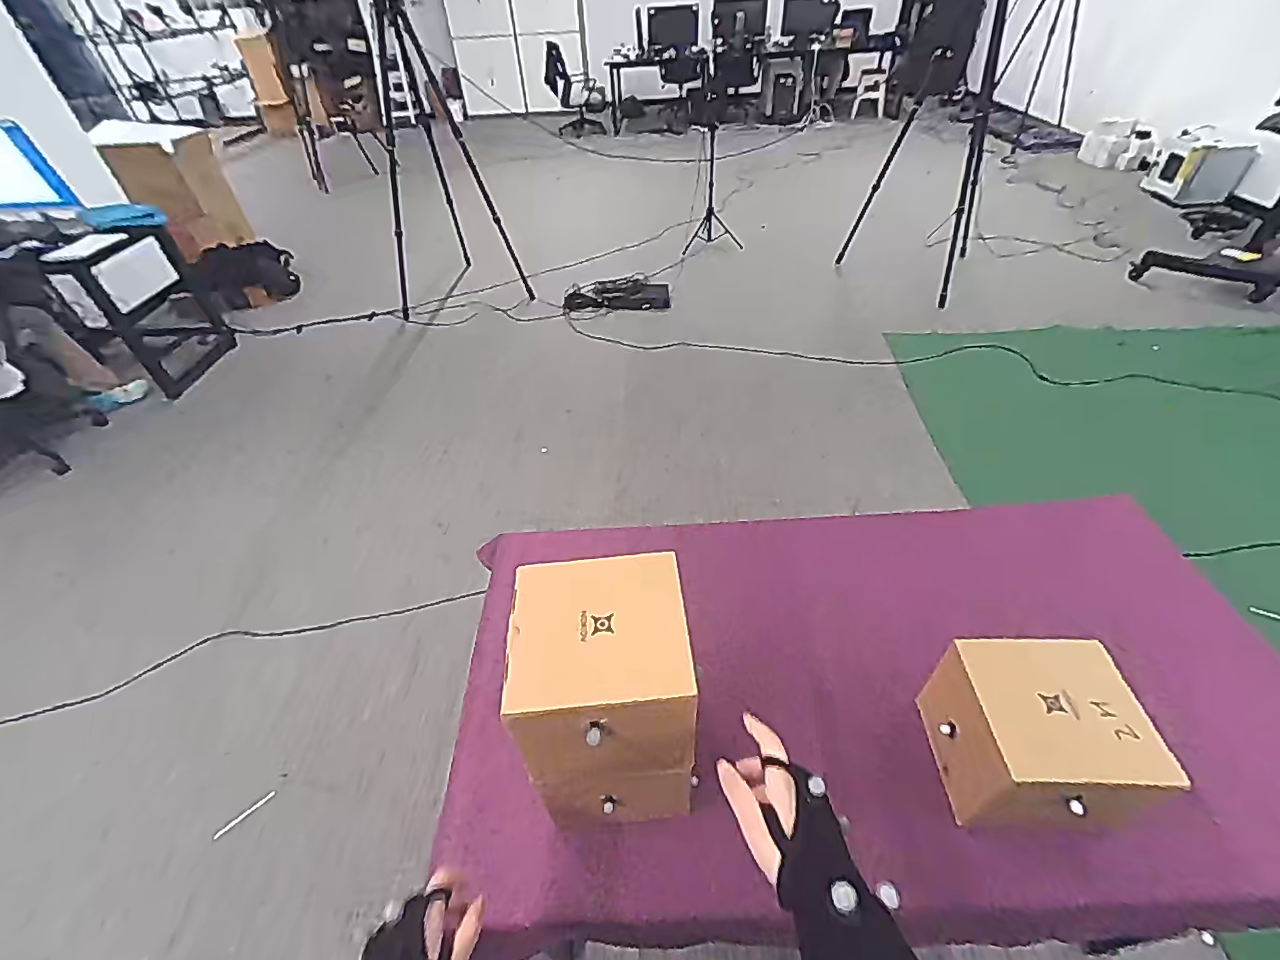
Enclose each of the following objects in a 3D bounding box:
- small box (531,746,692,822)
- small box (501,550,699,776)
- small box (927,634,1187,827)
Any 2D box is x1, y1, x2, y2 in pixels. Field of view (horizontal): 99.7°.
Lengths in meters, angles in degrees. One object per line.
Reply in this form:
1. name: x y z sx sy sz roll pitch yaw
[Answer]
1. small box: -0.030 0.317 0.692 0.179 0.176 0.168 -6 43 1
2. small box: -0.035 0.198 0.582 0.179 0.176 0.168 -6 43 0
3. small box: 0.475 0.306 0.660 0.179 0.176 0.168 0 44 5
